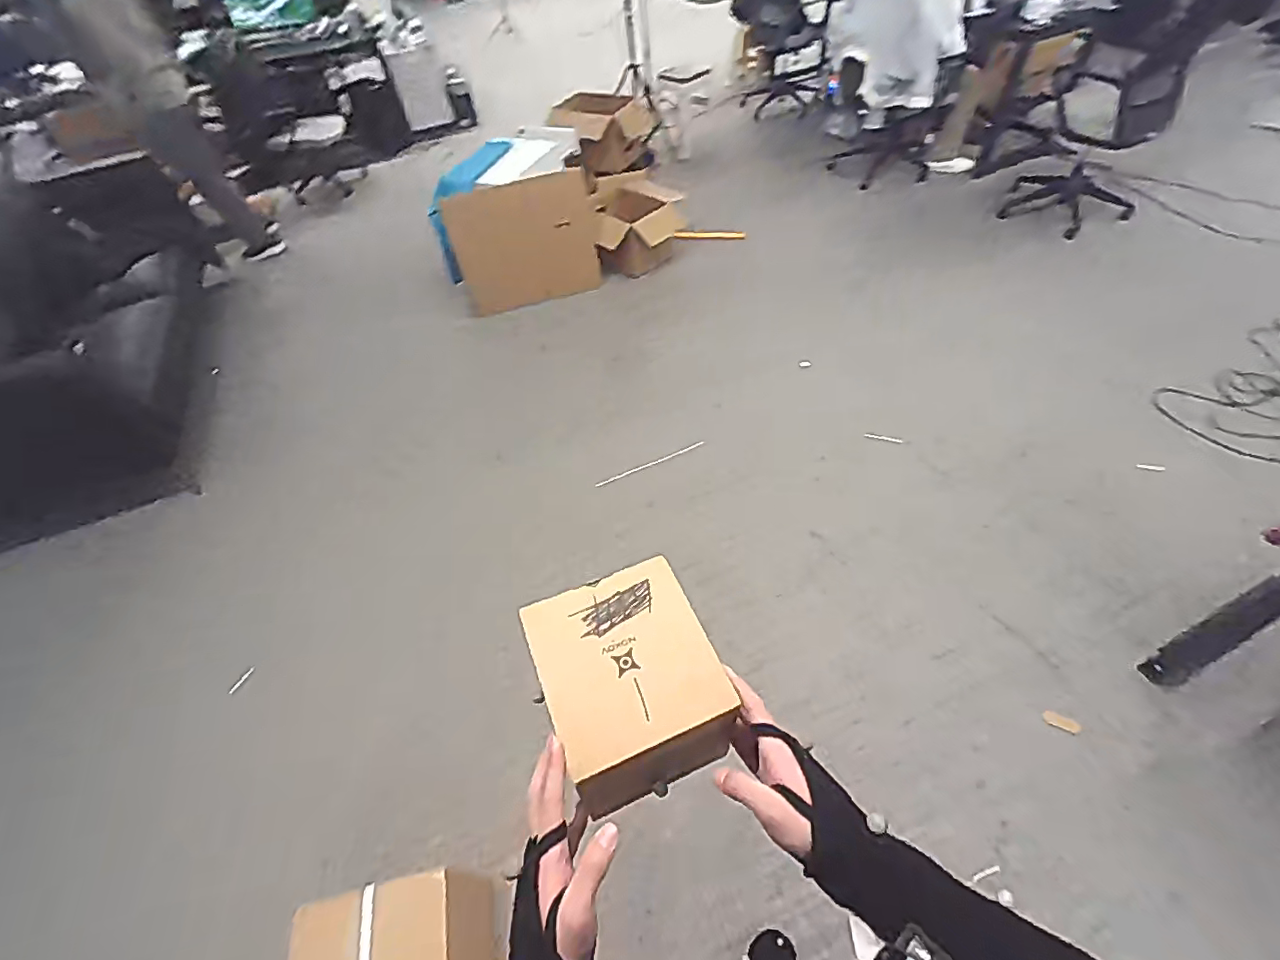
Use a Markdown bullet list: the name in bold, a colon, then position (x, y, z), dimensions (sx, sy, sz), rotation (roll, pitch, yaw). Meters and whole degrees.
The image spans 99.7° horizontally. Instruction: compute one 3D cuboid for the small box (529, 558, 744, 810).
- **small box**: position (-0.008, 0.220, 0.586), dimensions (0.168, 0.176, 0.179), rotation (-19, 51, -13)
